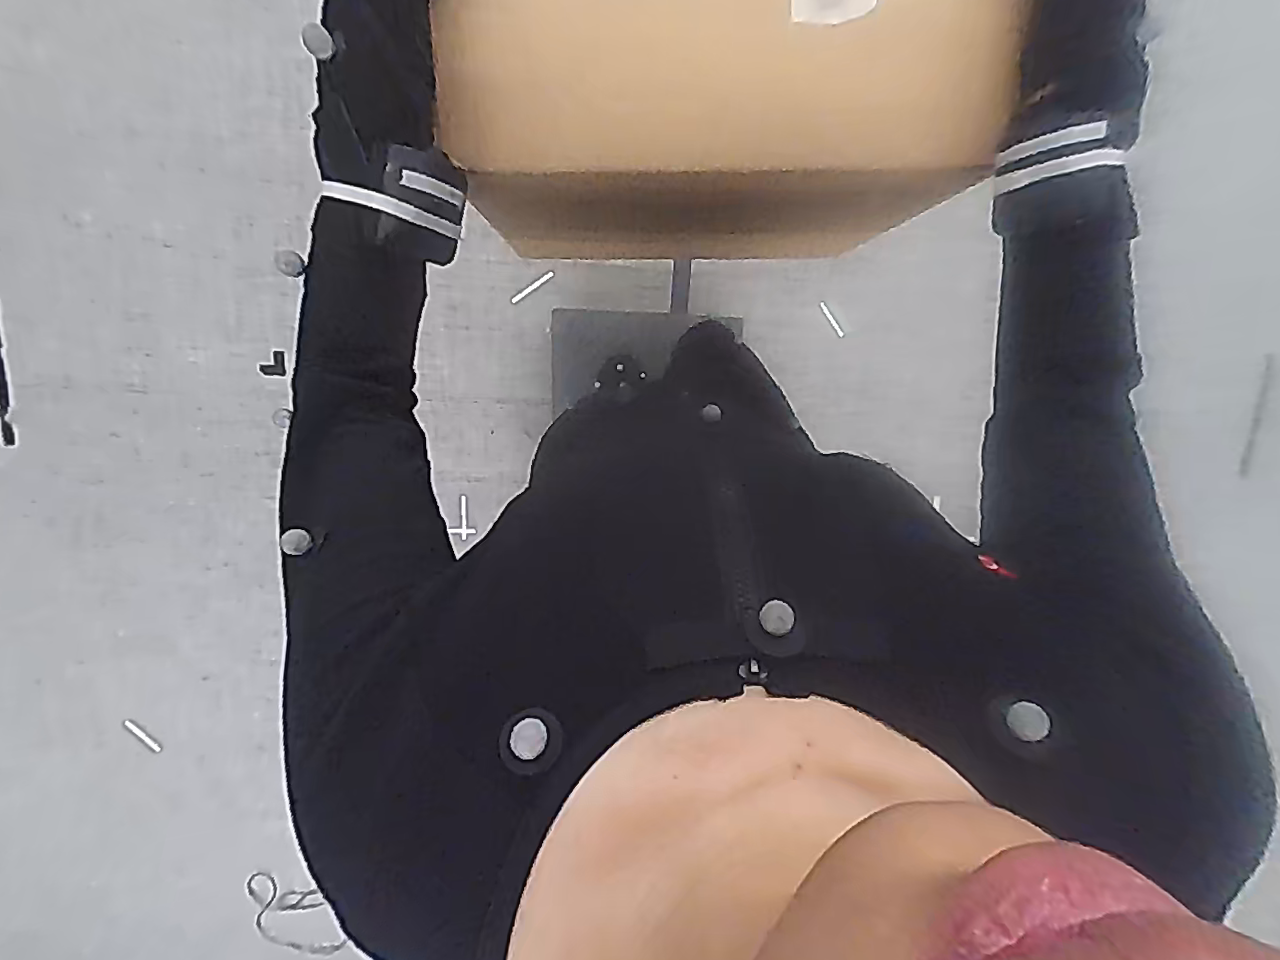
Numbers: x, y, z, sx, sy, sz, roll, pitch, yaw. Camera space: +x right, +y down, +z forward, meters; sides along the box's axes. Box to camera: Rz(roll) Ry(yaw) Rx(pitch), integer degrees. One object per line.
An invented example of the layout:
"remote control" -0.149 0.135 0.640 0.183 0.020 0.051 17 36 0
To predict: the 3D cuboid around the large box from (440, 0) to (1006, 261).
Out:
"large box" 0.052 -0.406 0.512 0.408 0.320 0.320 -2 101 -2
